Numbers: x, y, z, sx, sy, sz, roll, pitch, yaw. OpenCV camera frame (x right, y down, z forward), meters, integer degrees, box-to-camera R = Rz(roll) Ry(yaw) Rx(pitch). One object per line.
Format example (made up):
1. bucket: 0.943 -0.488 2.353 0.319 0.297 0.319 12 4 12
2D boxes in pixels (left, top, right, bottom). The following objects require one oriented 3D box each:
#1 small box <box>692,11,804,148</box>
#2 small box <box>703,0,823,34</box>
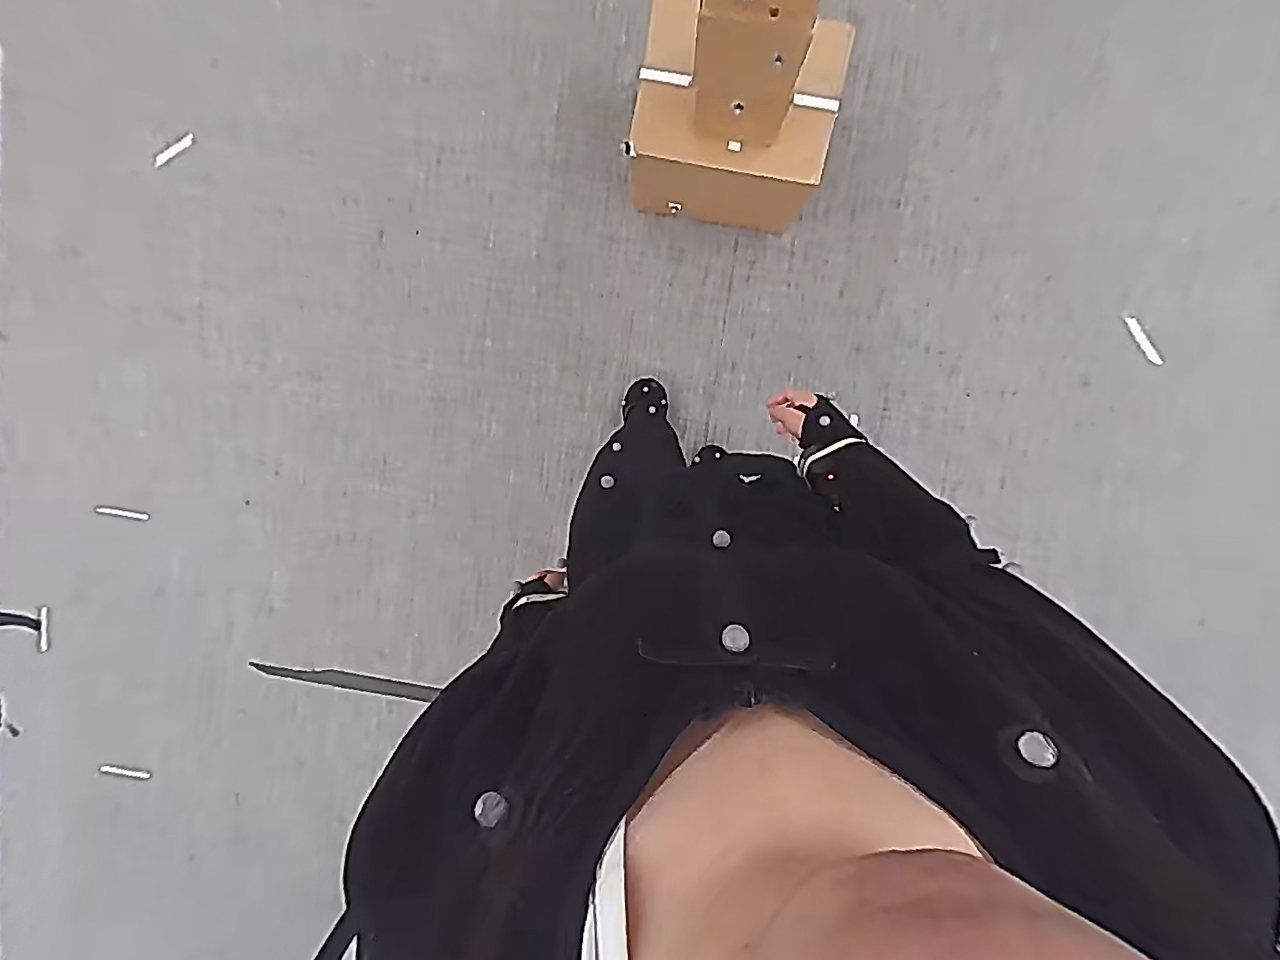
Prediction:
1. small box: 0.196 -0.759 1.022 0.179 0.176 0.168 8 97 0
2. small box: 0.178 -0.735 0.696 0.168 0.176 0.179 9 97 1
